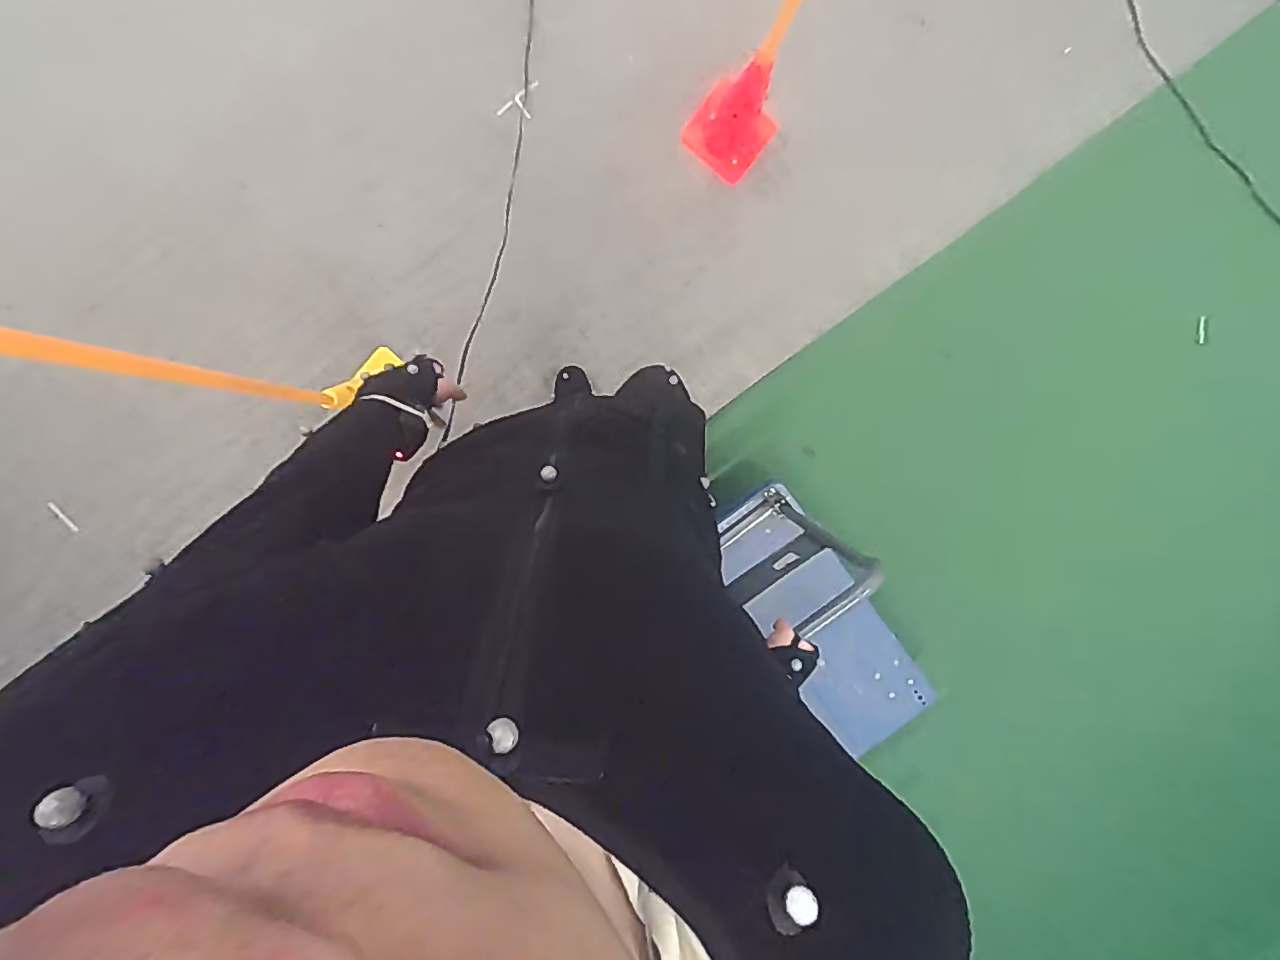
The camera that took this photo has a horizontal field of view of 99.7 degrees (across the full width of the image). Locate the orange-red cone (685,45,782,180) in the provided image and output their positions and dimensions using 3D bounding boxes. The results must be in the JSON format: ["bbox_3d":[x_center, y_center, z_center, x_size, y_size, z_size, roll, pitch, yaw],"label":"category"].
[{"bbox_3d":[0.259,-0.910,1.282,0.198,0.360,0.199,39,95,-11],"label":"orange-red cone"}]
